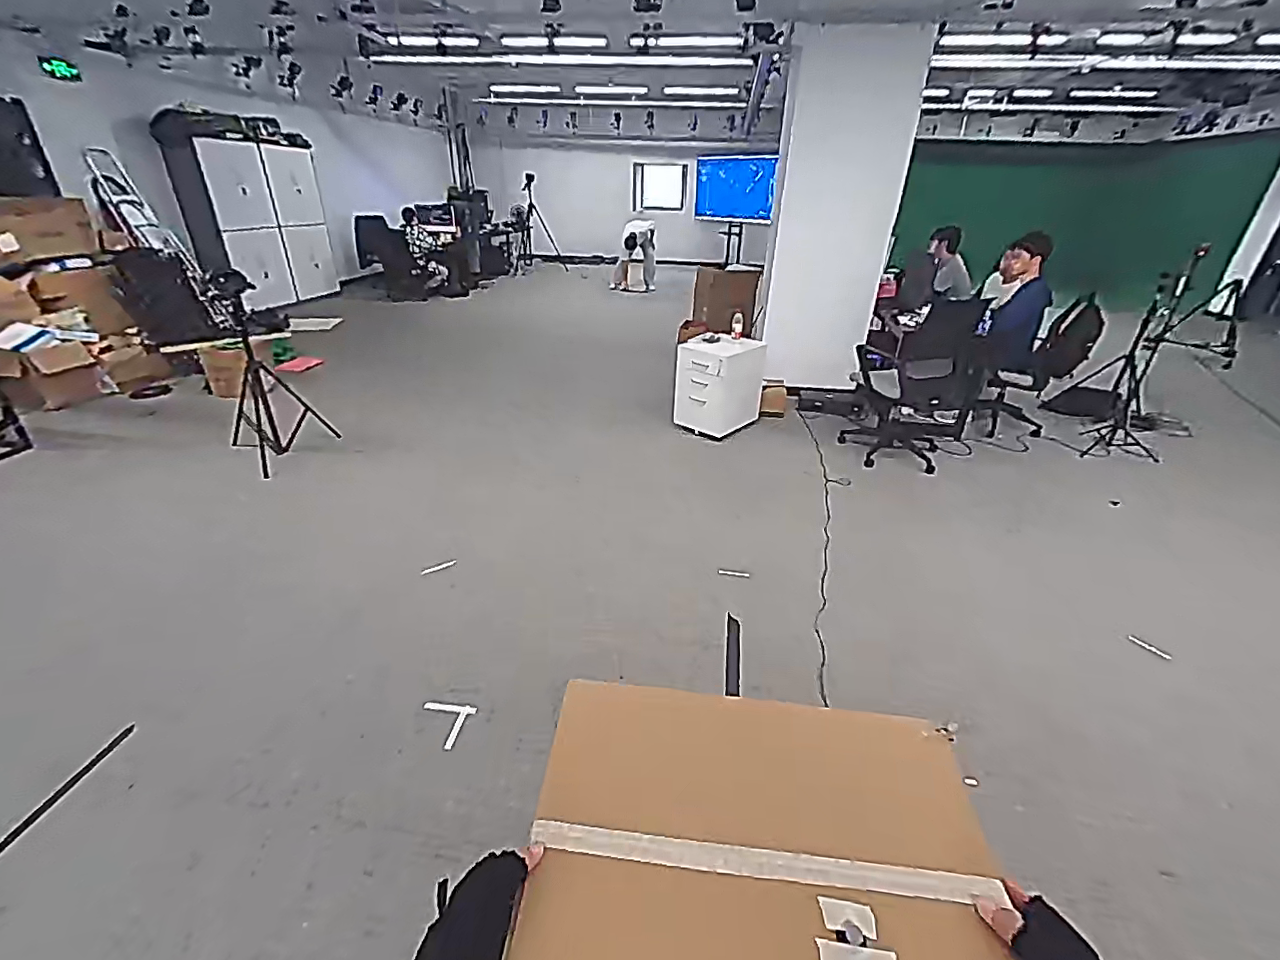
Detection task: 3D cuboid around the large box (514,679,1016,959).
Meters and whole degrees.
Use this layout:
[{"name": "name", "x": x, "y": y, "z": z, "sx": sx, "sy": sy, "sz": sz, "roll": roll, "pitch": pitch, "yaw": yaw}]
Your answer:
[{"name": "large box", "x": 0.102, "y": 0.452, "z": 0.572, "sx": 0.408, "sy": 0.320, "sz": 0.320, "roll": 6, "pitch": 38, "yaw": 4}]
